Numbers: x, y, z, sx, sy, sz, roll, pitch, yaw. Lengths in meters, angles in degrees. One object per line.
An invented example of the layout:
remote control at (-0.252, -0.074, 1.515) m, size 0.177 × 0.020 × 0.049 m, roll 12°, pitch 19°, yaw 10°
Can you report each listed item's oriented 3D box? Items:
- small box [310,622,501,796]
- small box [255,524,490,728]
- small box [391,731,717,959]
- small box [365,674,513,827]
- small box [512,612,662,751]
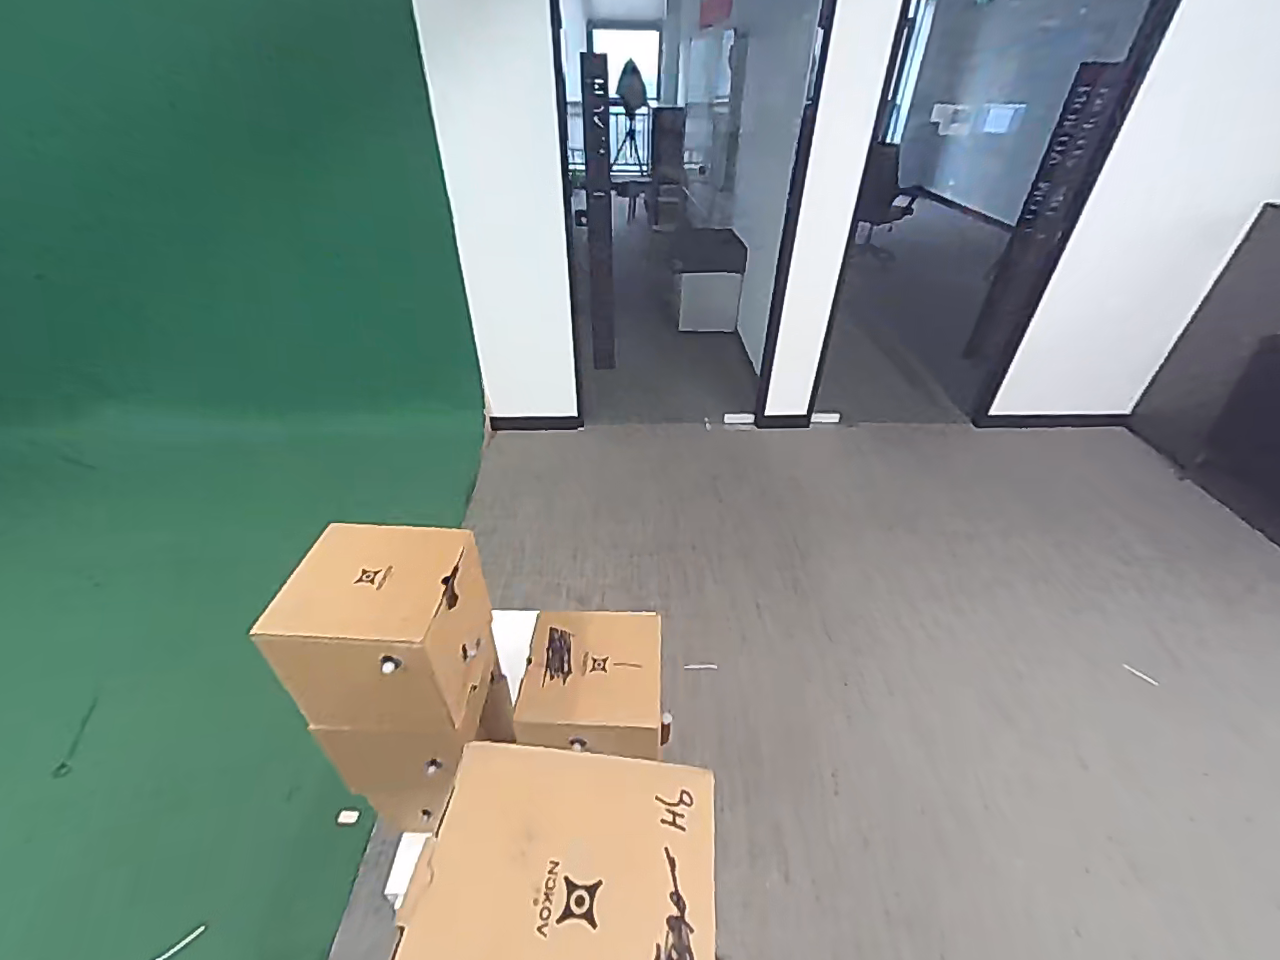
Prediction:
small box at (-0.295, 0.304, 0.732) m, size 0.179 × 0.176 × 0.168 m, roll 1°, pitch 36°, yaw -1°
small box at (-0.292, 0.171, 0.637) m, size 0.179 × 0.176 × 0.168 m, roll 3°, pitch 37°, yaw 0°
small box at (-0.045, 0.299, 0.367) m, size 0.179 × 0.176 × 0.168 m, roll 6°, pitch 38°, yaw 3°
small box at (-0.299, 0.423, 0.843) m, size 0.168 × 0.176 × 0.179 m, roll 3°, pitch 37°, yaw -1°
small box at (-0.060, 0.301, 0.739) m, size 0.179 × 0.176 × 0.168 m, roll 2°, pitch 37°, yaw 2°
